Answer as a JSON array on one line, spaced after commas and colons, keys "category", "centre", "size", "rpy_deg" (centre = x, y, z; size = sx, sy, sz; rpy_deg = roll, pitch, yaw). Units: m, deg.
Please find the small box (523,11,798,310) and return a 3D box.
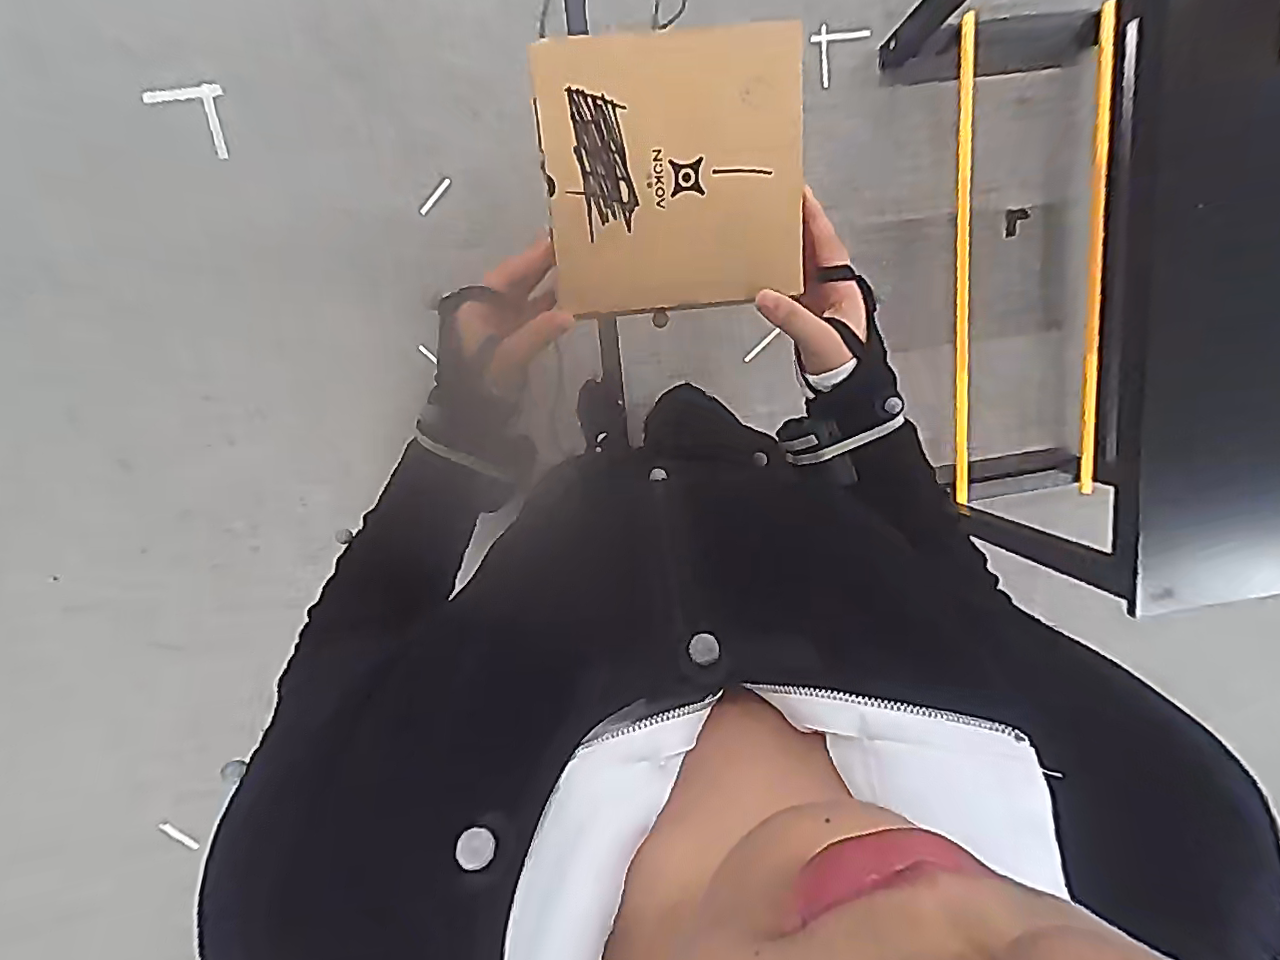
[{"category": "small box", "centre": [0.015, -0.231, 0.436], "size": [0.179, 0.176, 0.168], "rpy_deg": [-6, 106, -2]}]
